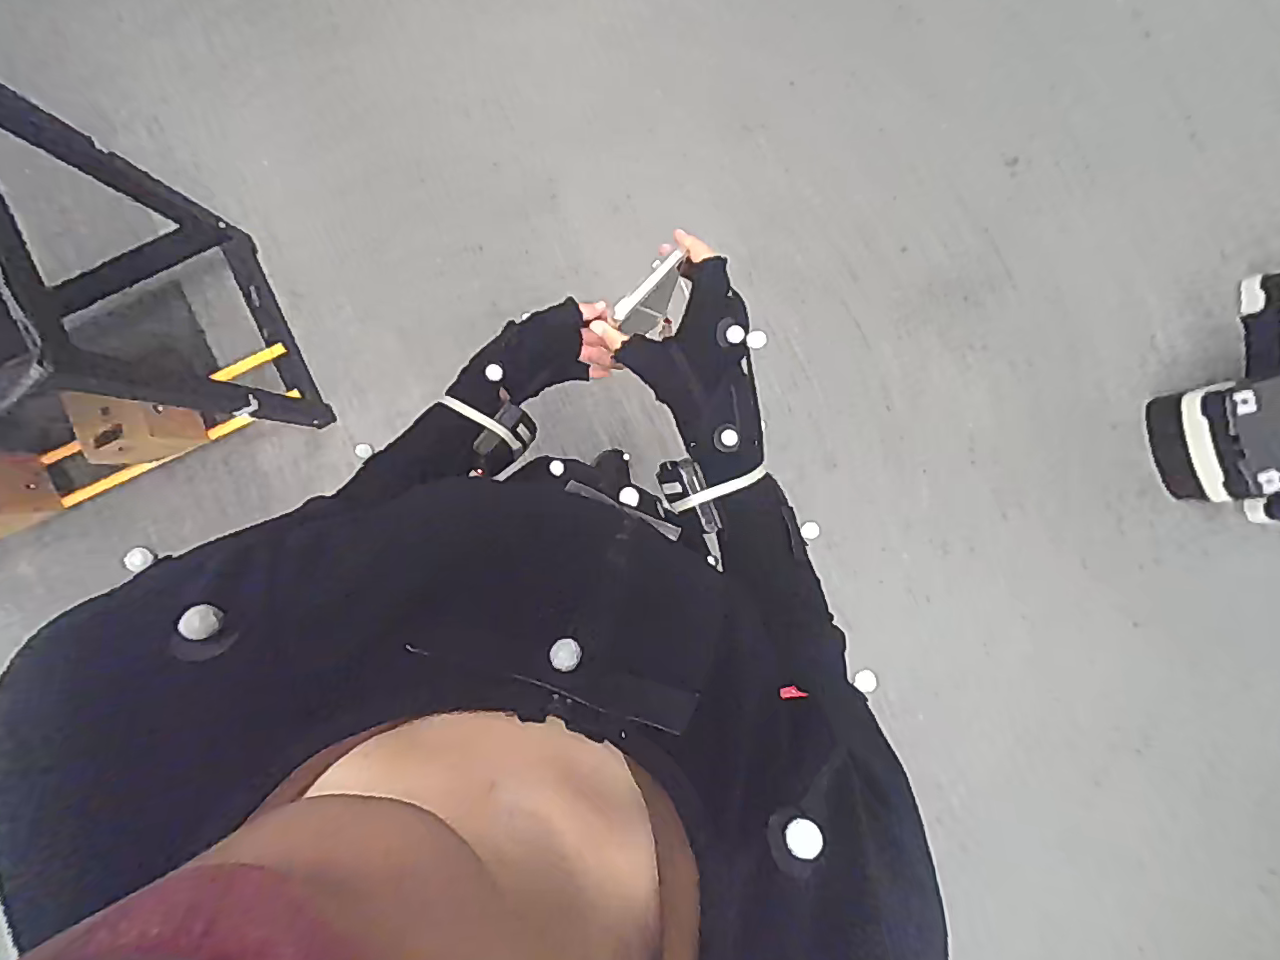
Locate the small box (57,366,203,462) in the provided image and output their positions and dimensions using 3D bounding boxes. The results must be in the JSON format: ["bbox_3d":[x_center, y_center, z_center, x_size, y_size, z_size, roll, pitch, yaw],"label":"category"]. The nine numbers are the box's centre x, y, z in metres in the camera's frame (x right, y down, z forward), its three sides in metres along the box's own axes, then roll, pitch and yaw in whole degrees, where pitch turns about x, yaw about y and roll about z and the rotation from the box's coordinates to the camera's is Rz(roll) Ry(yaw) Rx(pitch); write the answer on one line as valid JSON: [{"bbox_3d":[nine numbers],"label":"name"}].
[{"bbox_3d":[-1.212,-0.153,1.302,0.168,0.176,0.179,-21,90,1],"label":"small box"}]
